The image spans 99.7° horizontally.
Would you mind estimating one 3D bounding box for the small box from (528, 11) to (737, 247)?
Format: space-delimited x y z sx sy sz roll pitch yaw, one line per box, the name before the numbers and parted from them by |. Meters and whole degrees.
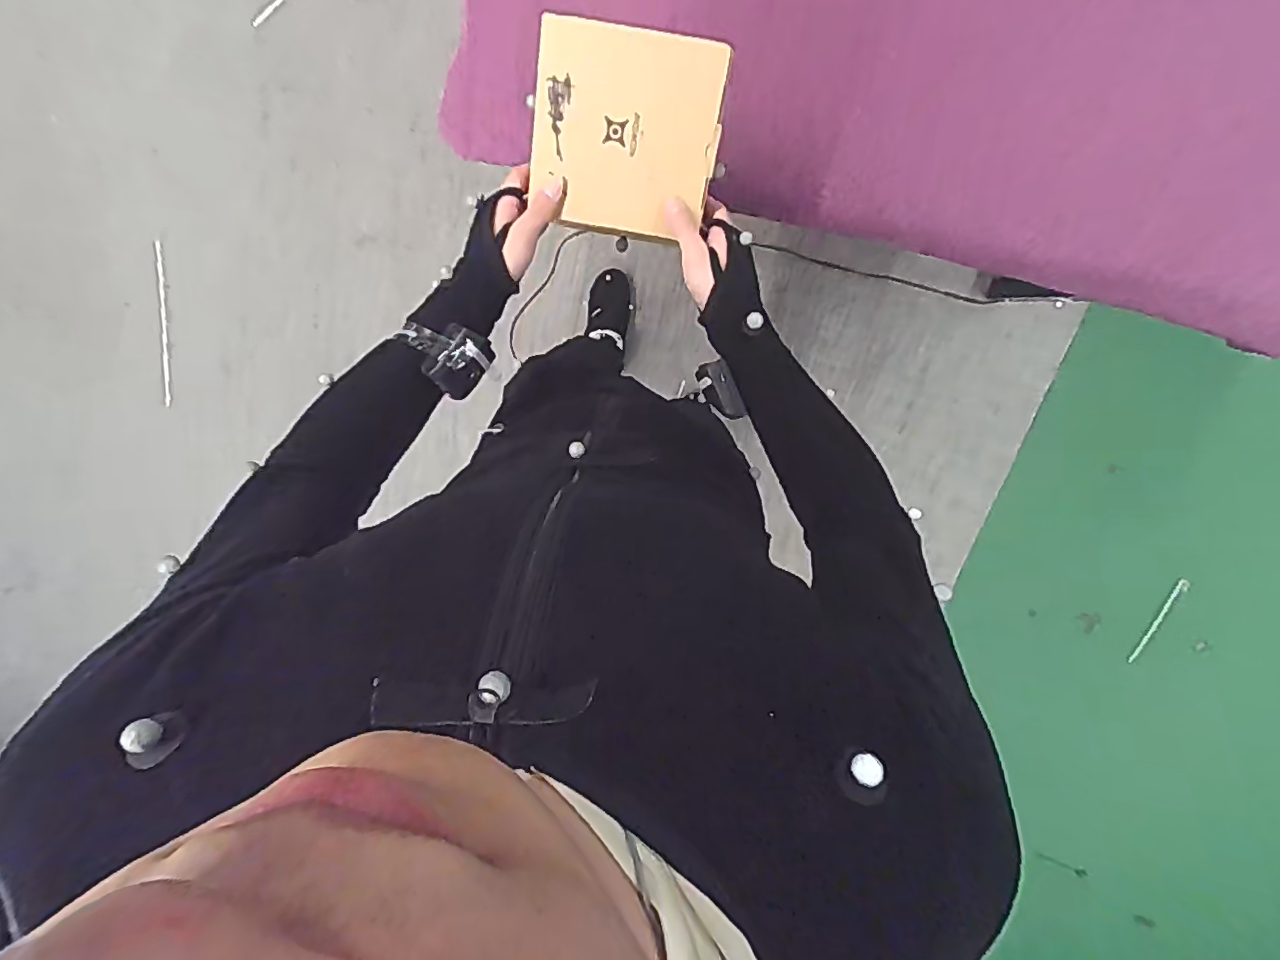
small box | -0.009 -0.353 0.581 0.179 0.176 0.168 10 111 -1
